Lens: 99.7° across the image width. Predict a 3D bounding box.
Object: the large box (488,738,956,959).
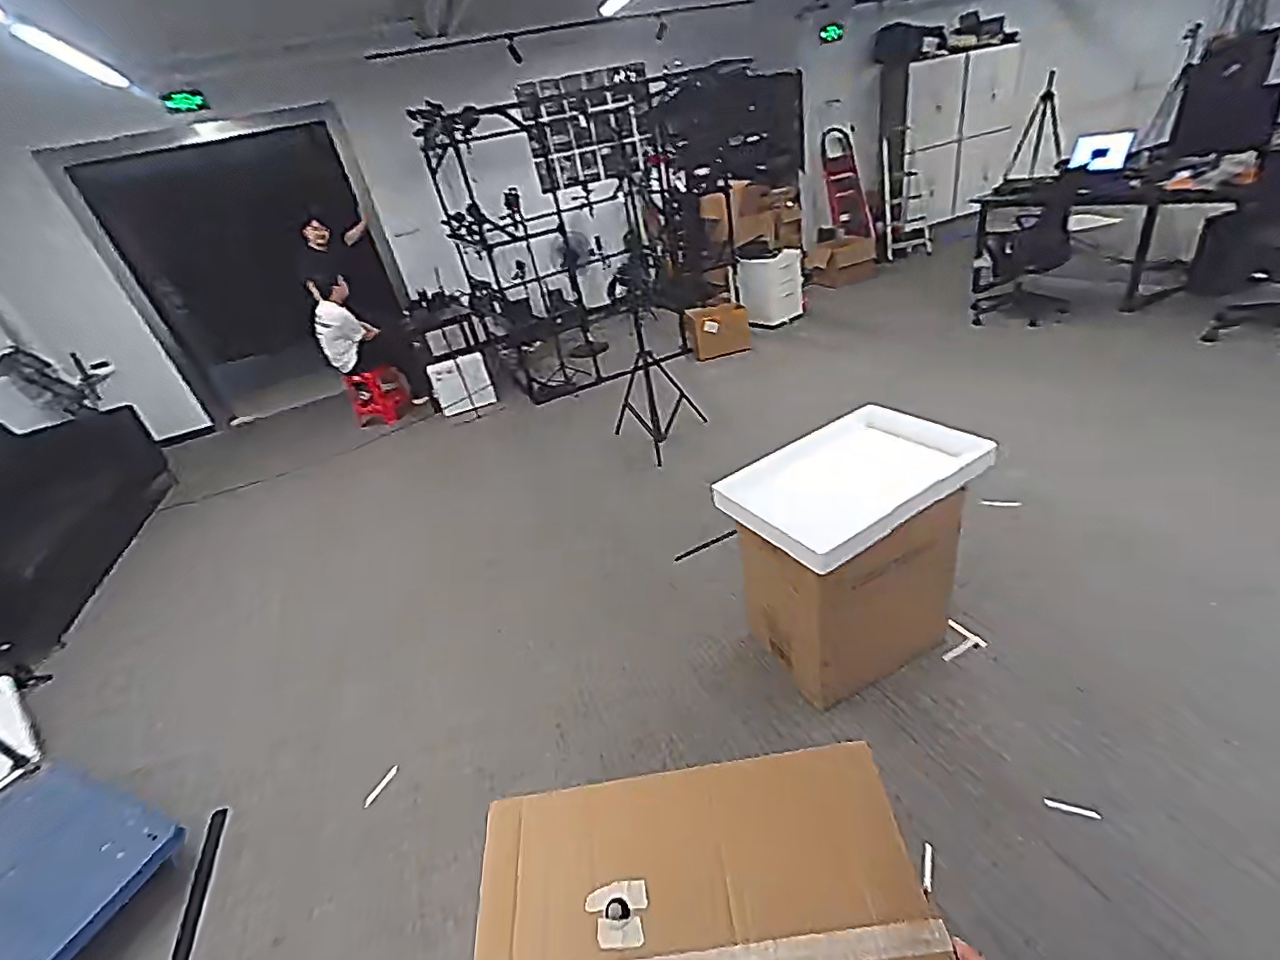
[{"bbox_3d":[0.090,0.510,0.561,0.408,0.320,0.320,-13,45,5],"label":"large box"}]
